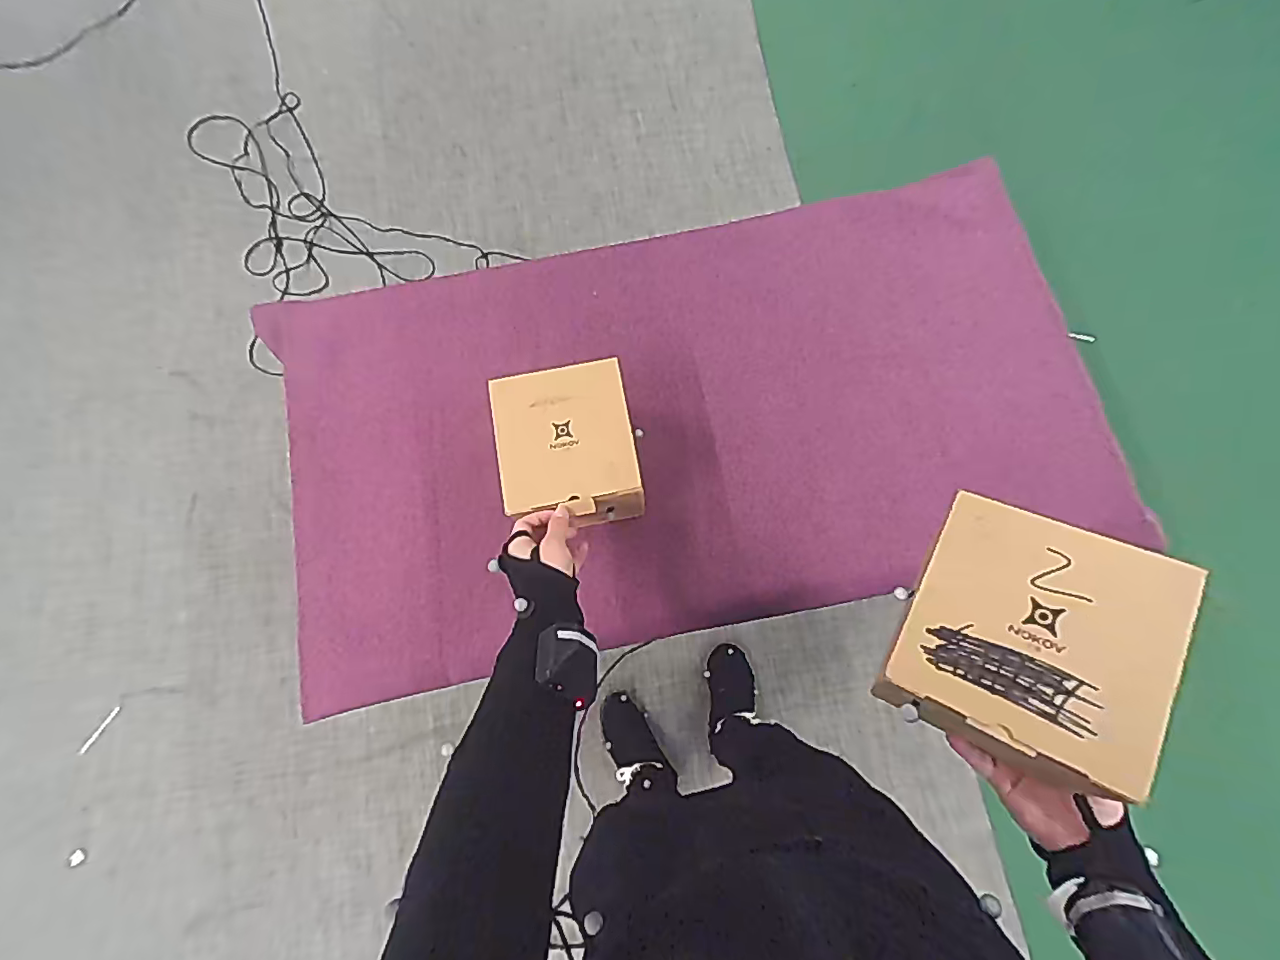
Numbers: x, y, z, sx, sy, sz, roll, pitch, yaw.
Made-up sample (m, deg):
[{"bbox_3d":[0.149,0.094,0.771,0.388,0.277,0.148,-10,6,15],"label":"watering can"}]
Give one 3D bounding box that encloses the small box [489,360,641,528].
[{"bbox_3d":[-0.093,-0.036,0.735,0.168,0.176,0.179,-10,75,-2],"label":"small box"}]
